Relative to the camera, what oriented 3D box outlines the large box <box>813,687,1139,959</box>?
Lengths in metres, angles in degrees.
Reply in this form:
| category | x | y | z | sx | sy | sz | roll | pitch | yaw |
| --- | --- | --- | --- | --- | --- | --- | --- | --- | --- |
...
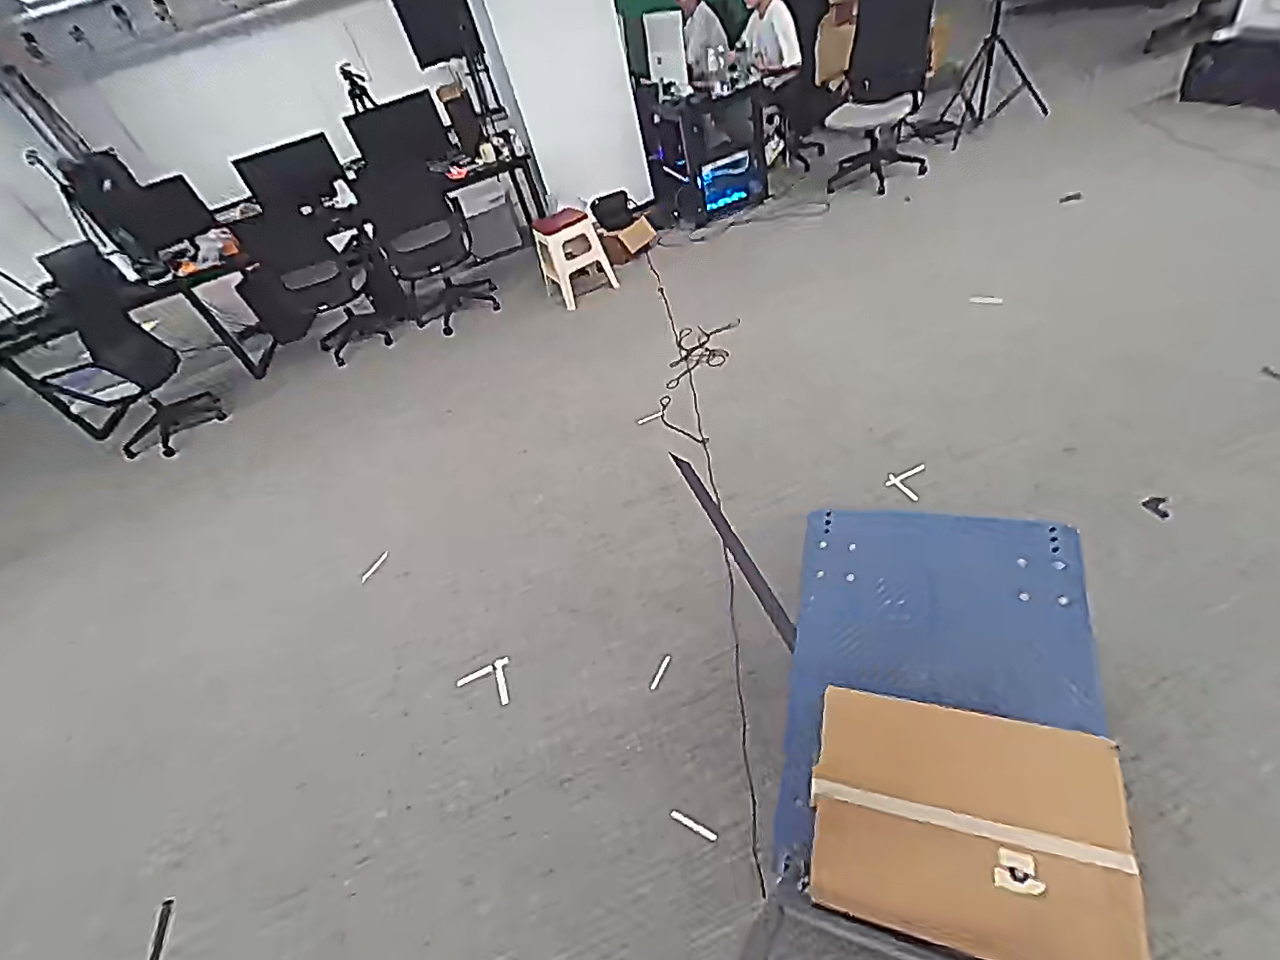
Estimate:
| category | x | y | z | sx | sy | sz | roll | pitch | yaw |
| --- | --- | --- | --- | --- | --- | --- | --- | --- | --- |
| large box | 0.522 | 0.579 | 0.933 | 0.408 | 0.320 | 0.320 | 4 | 62 | 23 |
